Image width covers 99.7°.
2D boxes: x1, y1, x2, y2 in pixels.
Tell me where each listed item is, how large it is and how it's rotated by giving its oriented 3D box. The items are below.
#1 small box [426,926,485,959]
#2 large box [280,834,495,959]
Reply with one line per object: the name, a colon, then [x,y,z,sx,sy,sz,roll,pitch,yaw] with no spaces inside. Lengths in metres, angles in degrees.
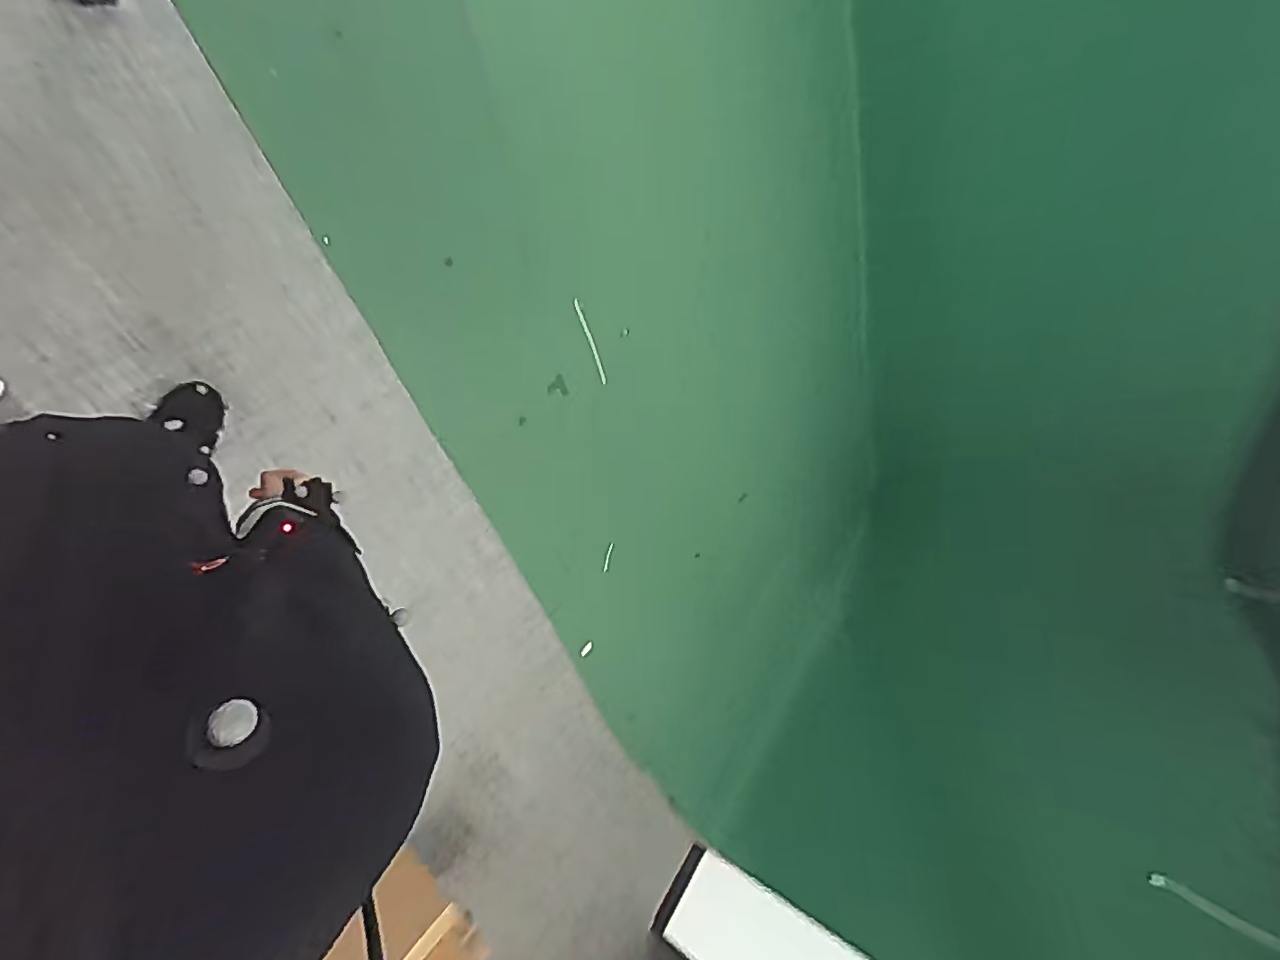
small box: [-0.467,1.302,1.369,0.179,0.176,0.168,-41,130,-37]
large box: [-0.690,1.307,1.486,0.408,0.320,0.320,-40,127,-36]
